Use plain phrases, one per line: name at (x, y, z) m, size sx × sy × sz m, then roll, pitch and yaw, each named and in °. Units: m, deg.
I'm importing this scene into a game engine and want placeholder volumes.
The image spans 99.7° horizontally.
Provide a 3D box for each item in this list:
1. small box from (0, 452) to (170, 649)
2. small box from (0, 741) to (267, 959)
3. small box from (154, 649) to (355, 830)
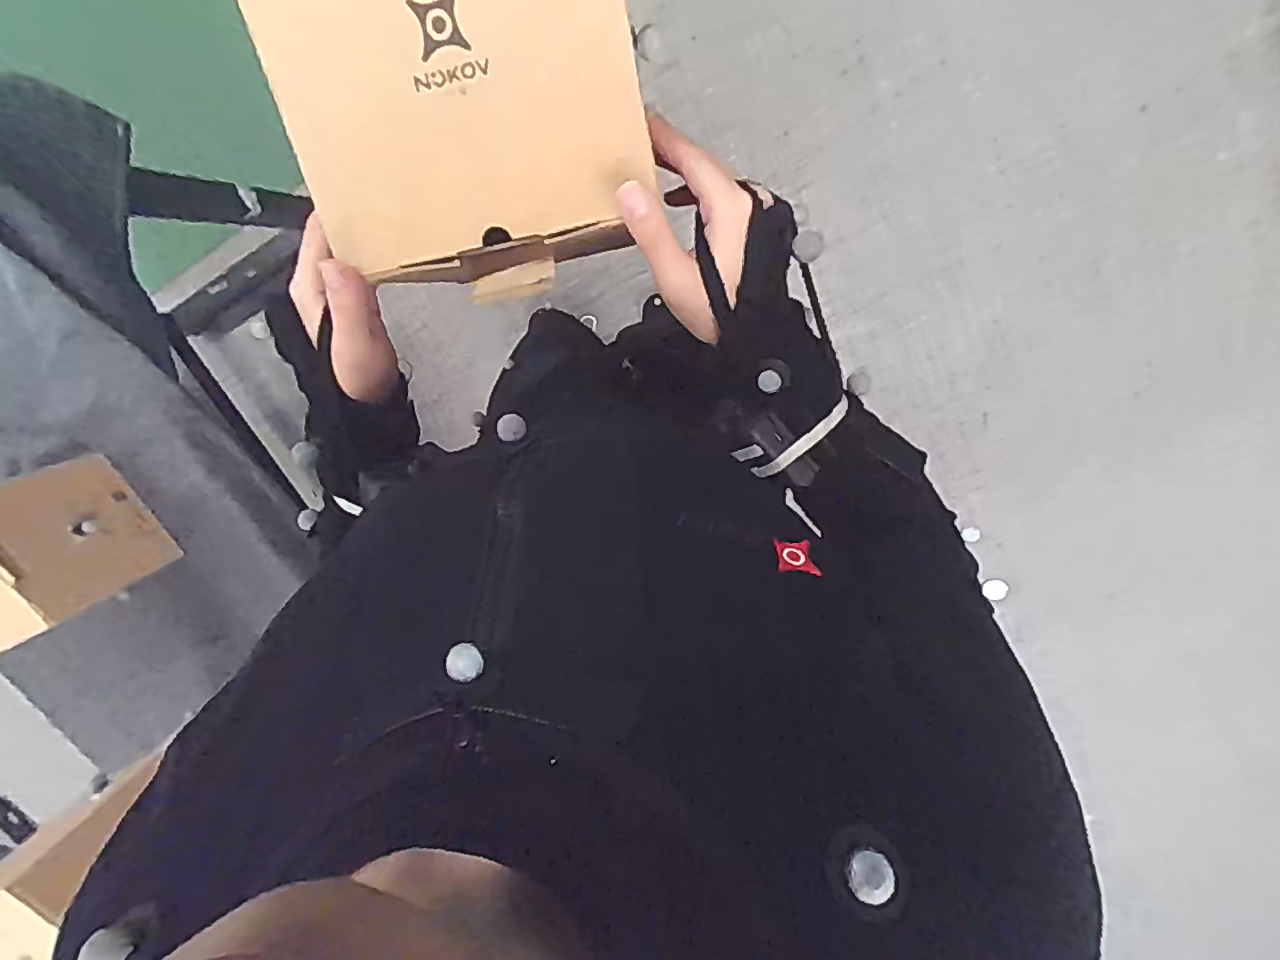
small box at (-0.742, 0.086, 0.664) m, size 0.179 × 0.176 × 0.168 m, roll -23°, pitch 108°, yaw 14°
small box at (-0.581, 0.438, 0.610) m, size 0.168 × 0.176 × 0.179 m, roll -30°, pitch 105°, yaw 15°
small box at (-0.548, 0.375, 0.757) m, size 0.179 × 0.176 × 0.168 m, roll -33°, pitch 105°, yaw 17°
